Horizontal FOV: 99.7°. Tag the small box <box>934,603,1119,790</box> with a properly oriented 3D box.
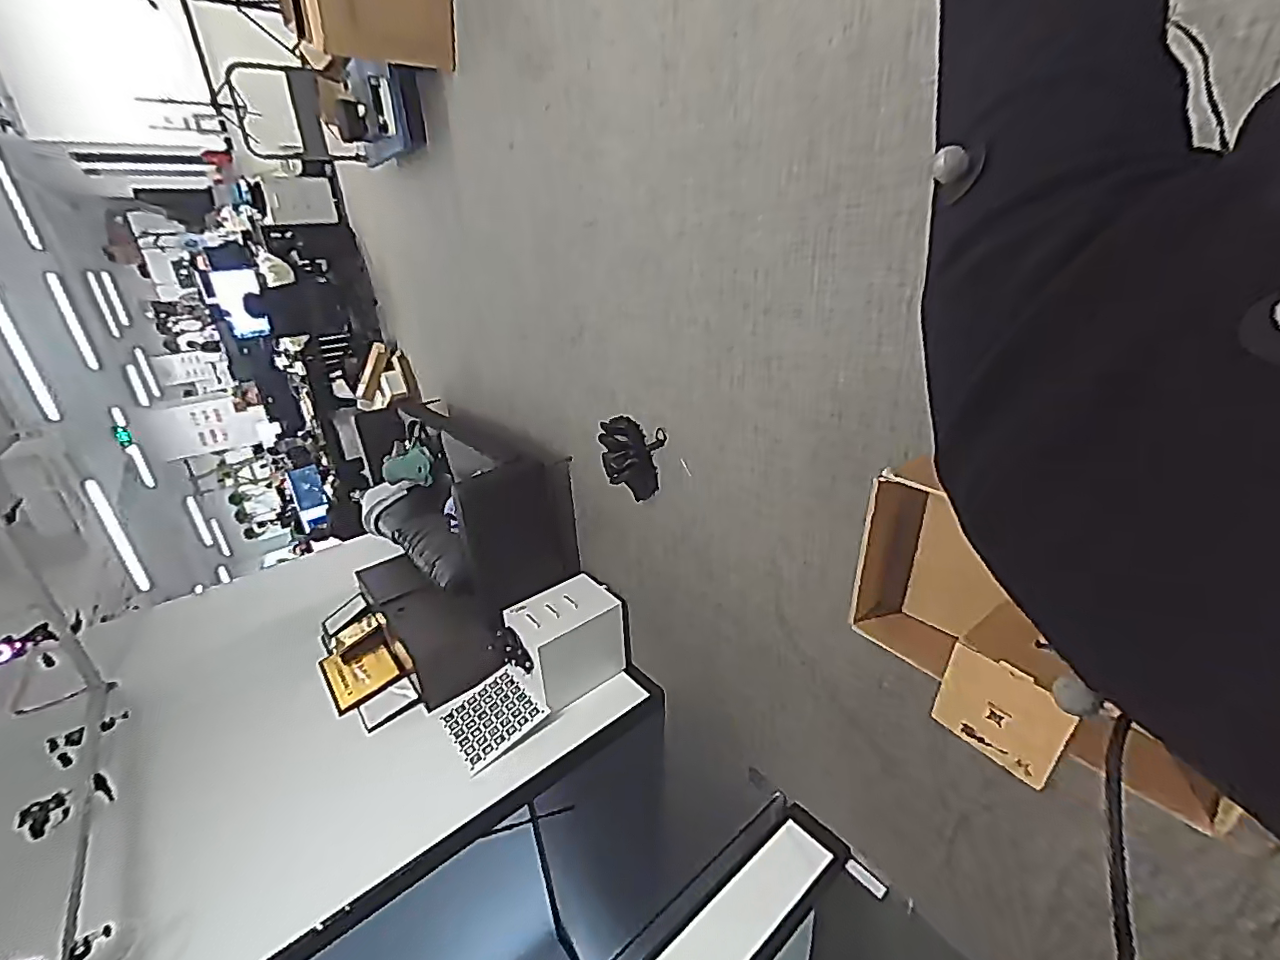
[{"bbox_3d":[0.601,0.324,0.844,0.168,0.176,0.179,32,132,46],"label":"small box"}]
